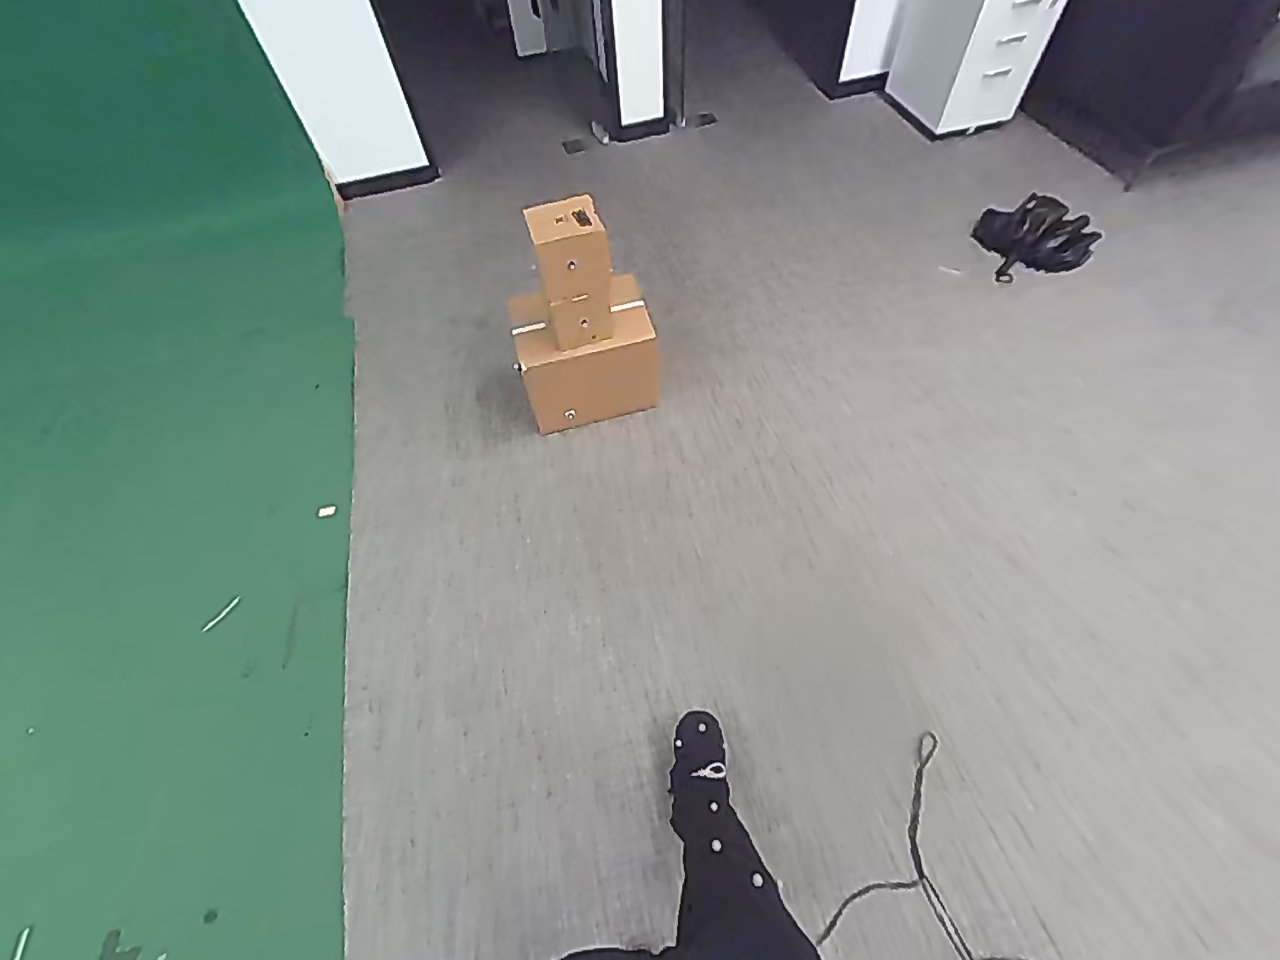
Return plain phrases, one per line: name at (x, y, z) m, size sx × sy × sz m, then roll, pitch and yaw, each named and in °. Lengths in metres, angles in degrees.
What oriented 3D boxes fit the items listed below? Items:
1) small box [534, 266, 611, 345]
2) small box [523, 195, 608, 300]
small box at (-0.185, -0.504, 1.528) m, size 0.168 × 0.176 × 0.179 m, roll -18°, pitch 59°, yaw -8°
small box at (-0.185, -0.594, 1.389) m, size 0.179 × 0.176 × 0.168 m, roll -15°, pitch 58°, yaw -5°
